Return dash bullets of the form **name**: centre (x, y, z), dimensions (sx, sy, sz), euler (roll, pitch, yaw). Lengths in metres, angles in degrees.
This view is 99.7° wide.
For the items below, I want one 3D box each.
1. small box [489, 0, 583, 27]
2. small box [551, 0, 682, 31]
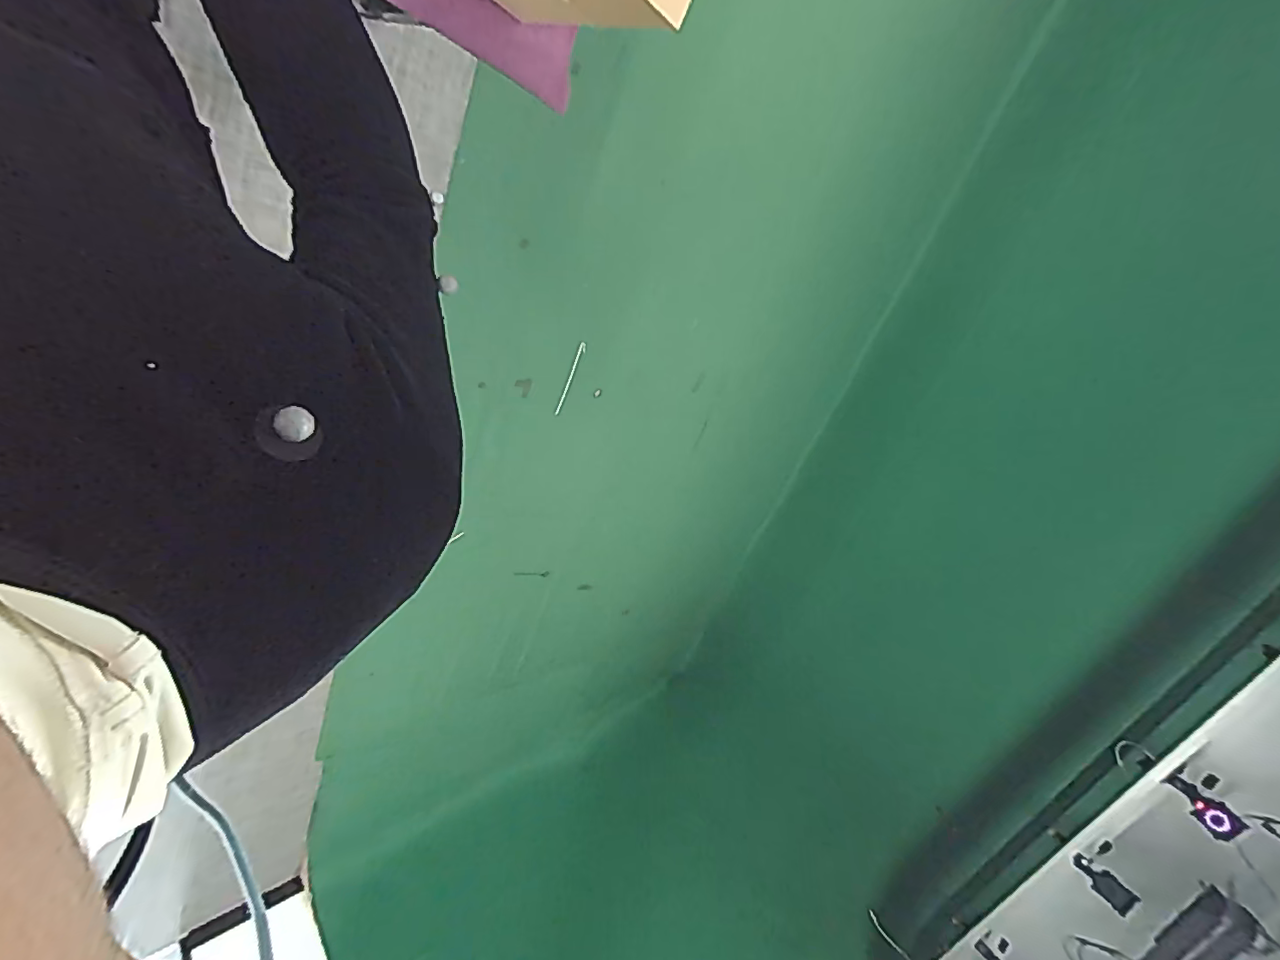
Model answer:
- **small box**: centre (-0.147, -0.679, 0.630), dimensions (0.179, 0.176, 0.168), euler (1, 119, -50)
- **small box**: centre (-0.038, -0.598, 0.538), dimensions (0.168, 0.176, 0.179), euler (3, 119, -48)
